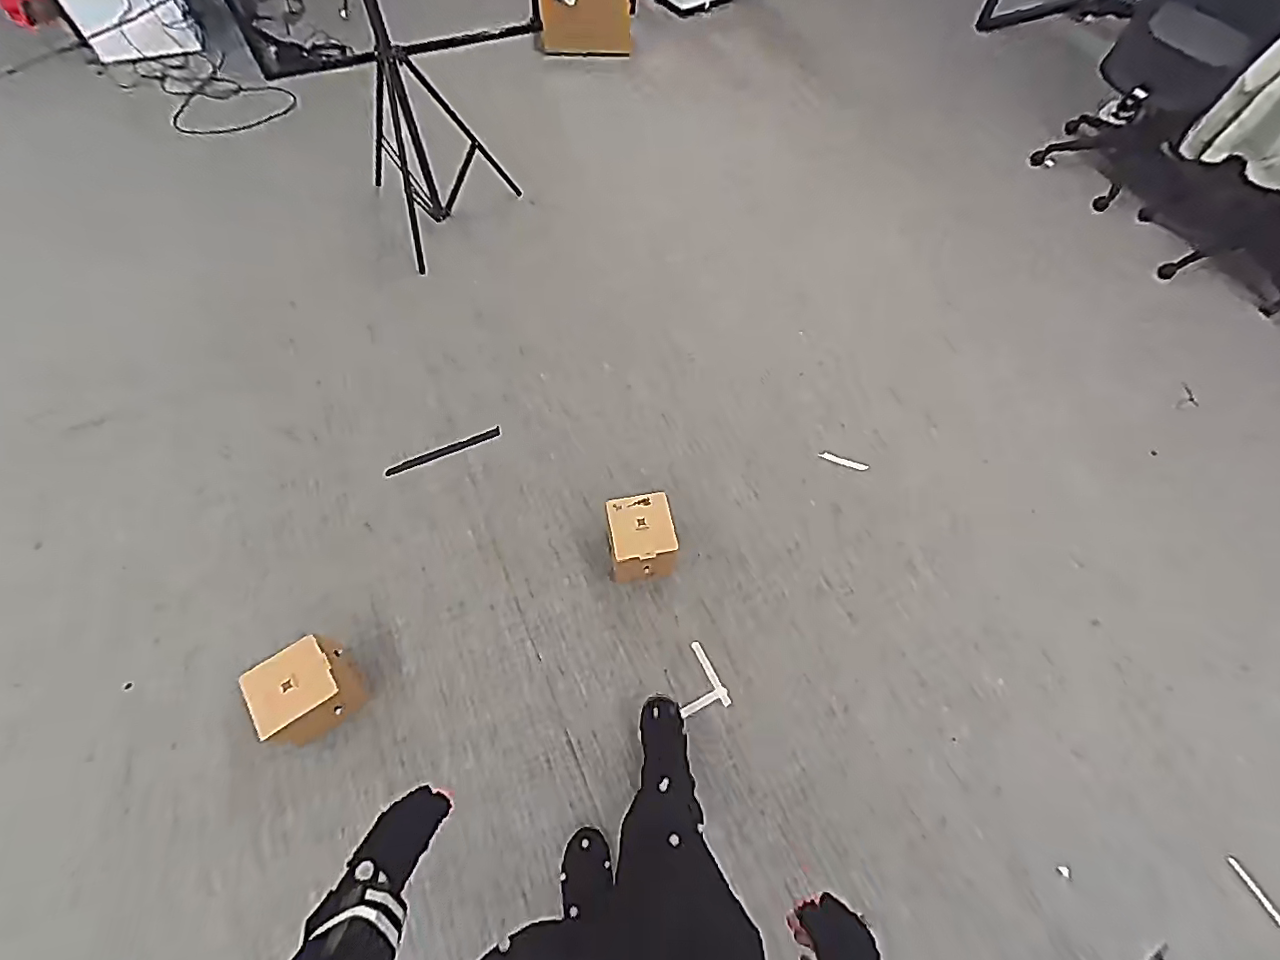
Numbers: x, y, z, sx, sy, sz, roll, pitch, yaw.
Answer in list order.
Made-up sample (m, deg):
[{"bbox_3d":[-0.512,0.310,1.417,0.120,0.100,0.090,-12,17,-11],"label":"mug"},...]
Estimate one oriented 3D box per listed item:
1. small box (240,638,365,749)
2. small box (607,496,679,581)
[{"bbox_3d":[-0.777,0.503,1.268,0.179,0.176,0.168,-33,66,-17],"label":"small box"},{"bbox_3d":[0.004,0.167,1.479,0.168,0.176,0.179,-9,62,-7],"label":"small box"}]
